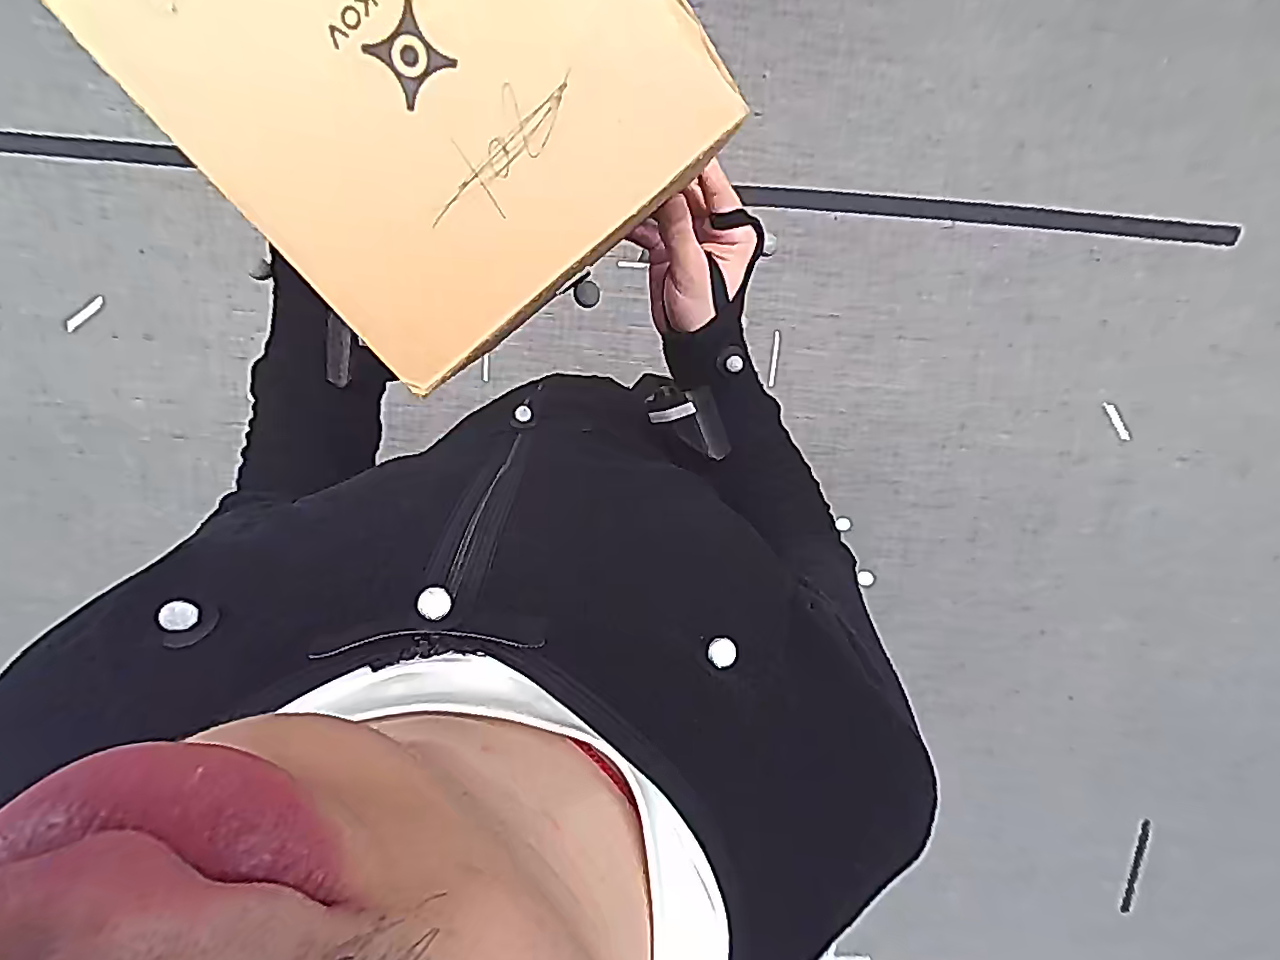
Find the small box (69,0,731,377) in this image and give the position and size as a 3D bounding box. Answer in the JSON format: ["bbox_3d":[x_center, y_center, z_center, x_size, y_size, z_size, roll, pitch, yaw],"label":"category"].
[{"bbox_3d":[-0.083,-0.180,0.266,0.168,0.176,0.179,-36,109,13],"label":"small box"}]
